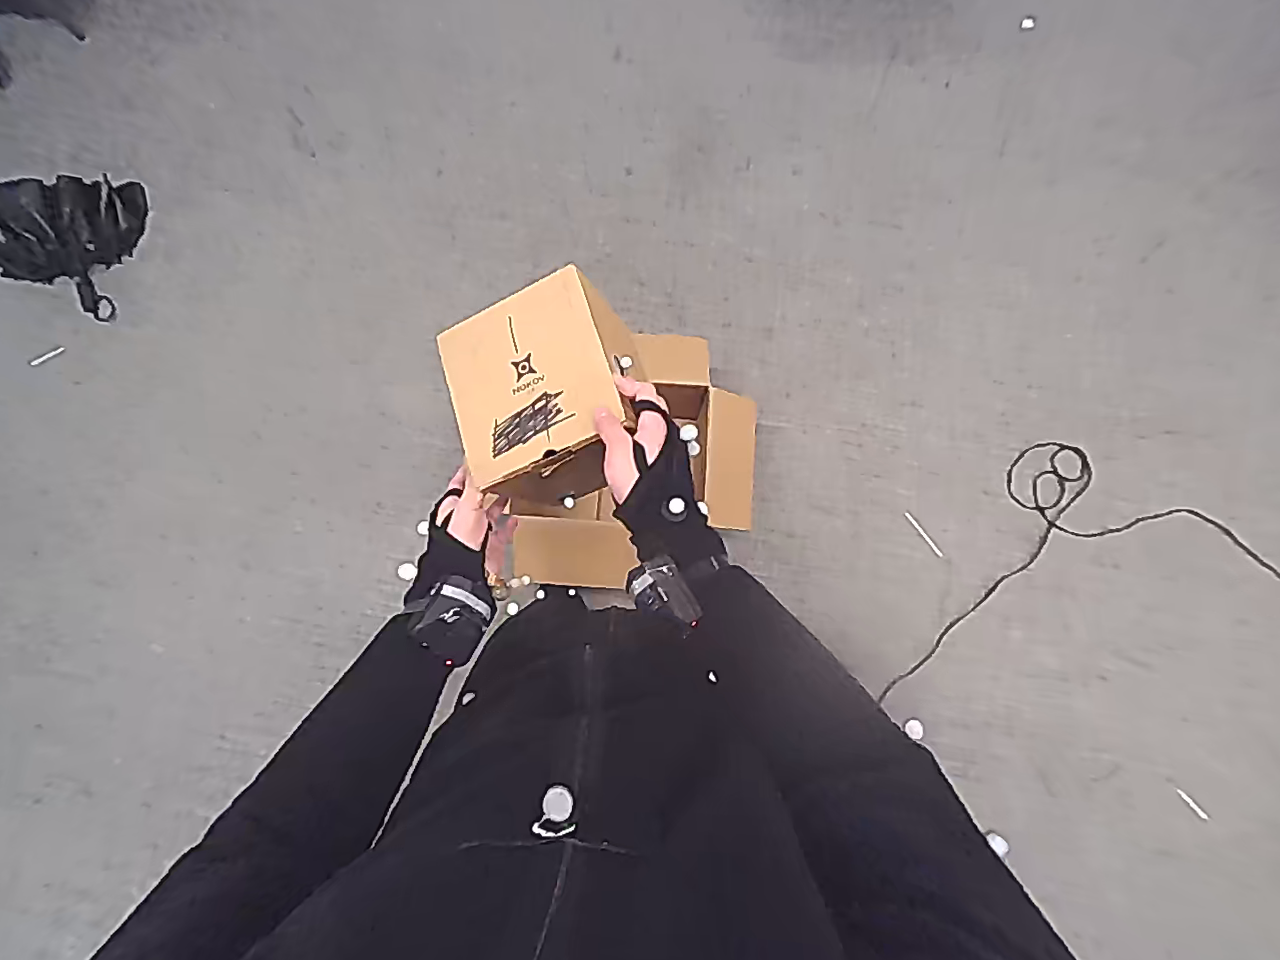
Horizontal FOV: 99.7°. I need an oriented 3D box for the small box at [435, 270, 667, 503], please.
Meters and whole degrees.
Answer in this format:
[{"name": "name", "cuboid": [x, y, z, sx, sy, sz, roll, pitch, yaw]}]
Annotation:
[{"name": "small box", "cuboid": [-0.085, -0.082, 0.588, 0.168, 0.176, 0.179, -23, 74, 13]}]
